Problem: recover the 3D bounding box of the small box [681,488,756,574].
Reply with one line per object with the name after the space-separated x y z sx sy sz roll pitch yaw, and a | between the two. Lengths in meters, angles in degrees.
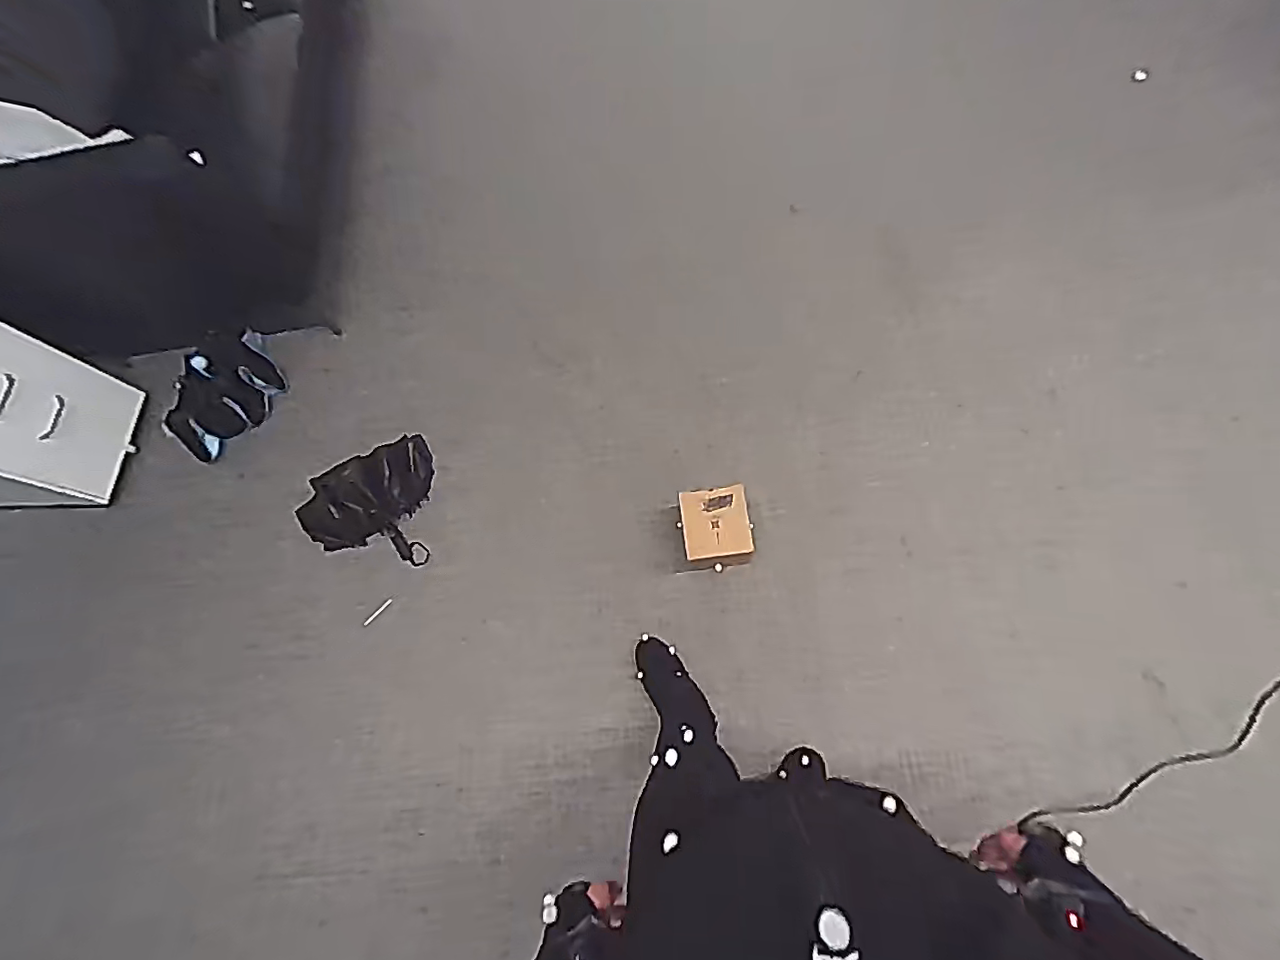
0.198 0.135 1.388 0.168 0.176 0.179 -8 72 6 | small box
